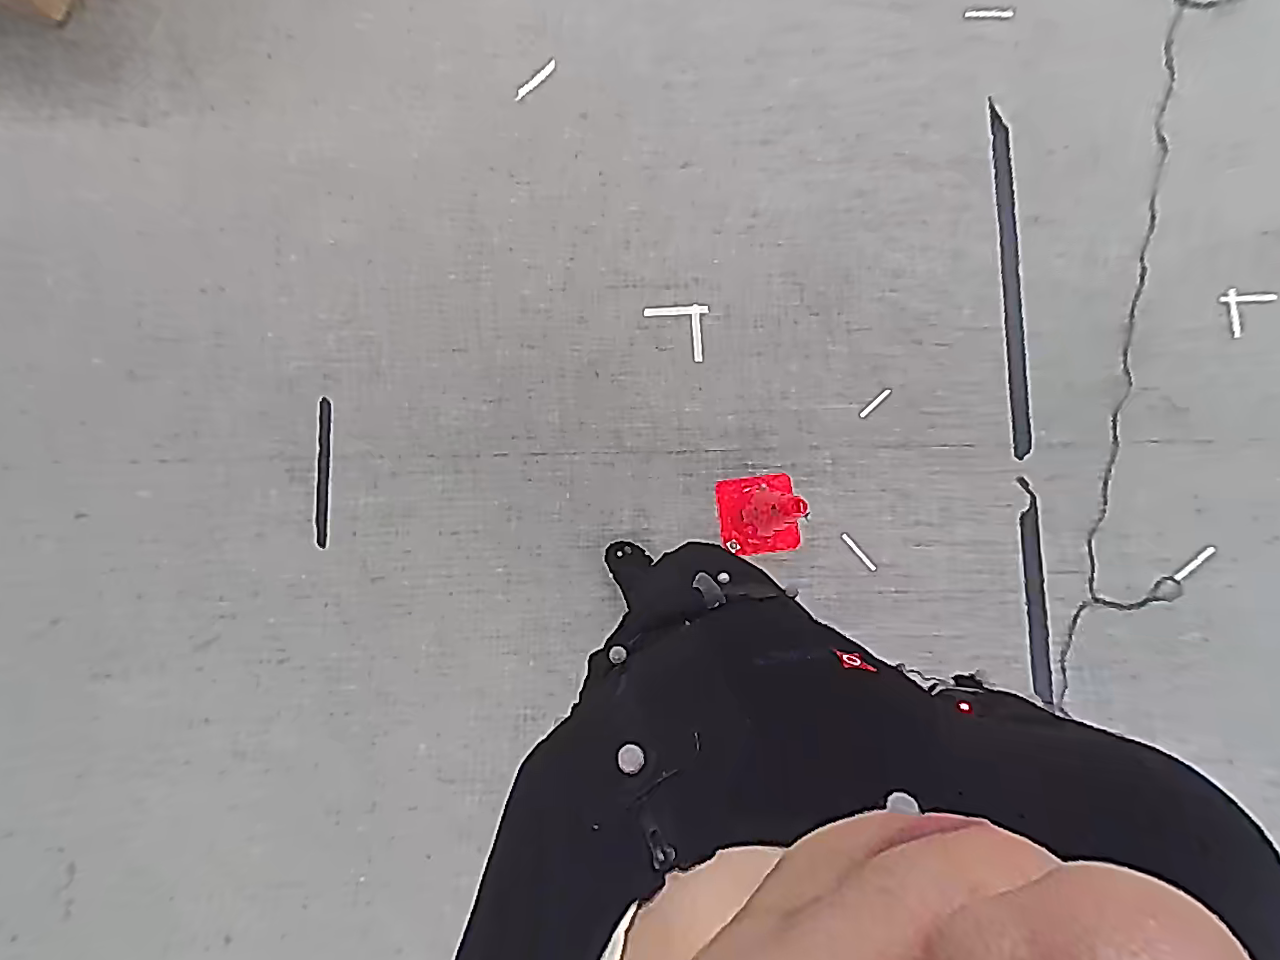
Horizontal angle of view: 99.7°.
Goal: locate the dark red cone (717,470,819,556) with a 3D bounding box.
[{"bbox_3d":[0.306,0.063,1.186,0.201,0.394,0.202,-8,83,-2],"label":"dark red cone"}]
